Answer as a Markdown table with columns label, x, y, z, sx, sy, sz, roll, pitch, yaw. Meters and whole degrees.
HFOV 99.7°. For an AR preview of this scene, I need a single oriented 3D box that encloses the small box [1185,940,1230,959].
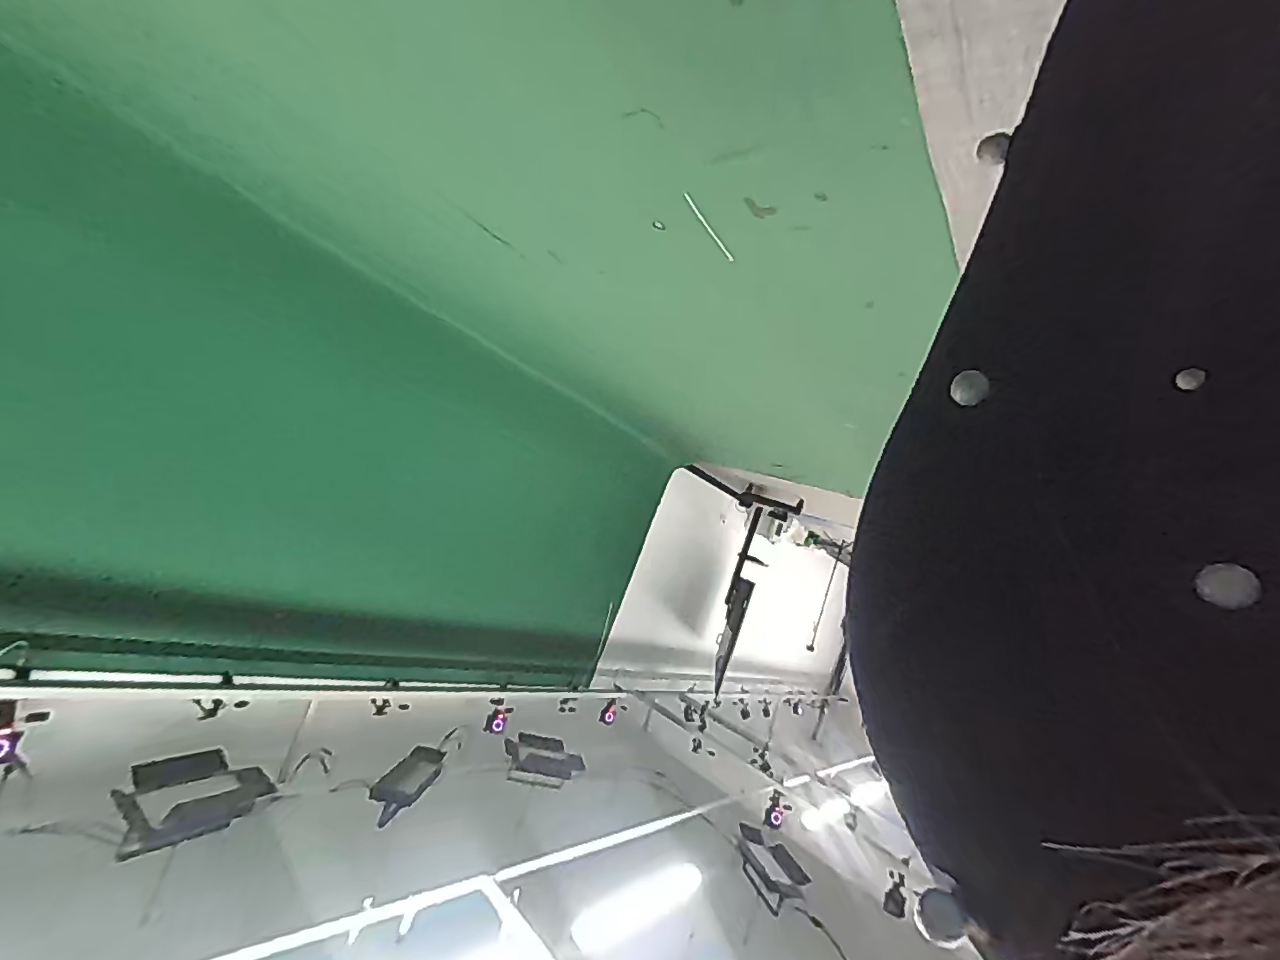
| label | x | y | z | sx | sy | sz | roll | pitch | yaw |
| --- | --- | --- | --- | --- | --- | --- | --- | --- | --- |
| small box | 1.599 | 1.414 | 1.471 | 0.168 | 0.176 | 0.179 | 17 | 174 | 45 |
